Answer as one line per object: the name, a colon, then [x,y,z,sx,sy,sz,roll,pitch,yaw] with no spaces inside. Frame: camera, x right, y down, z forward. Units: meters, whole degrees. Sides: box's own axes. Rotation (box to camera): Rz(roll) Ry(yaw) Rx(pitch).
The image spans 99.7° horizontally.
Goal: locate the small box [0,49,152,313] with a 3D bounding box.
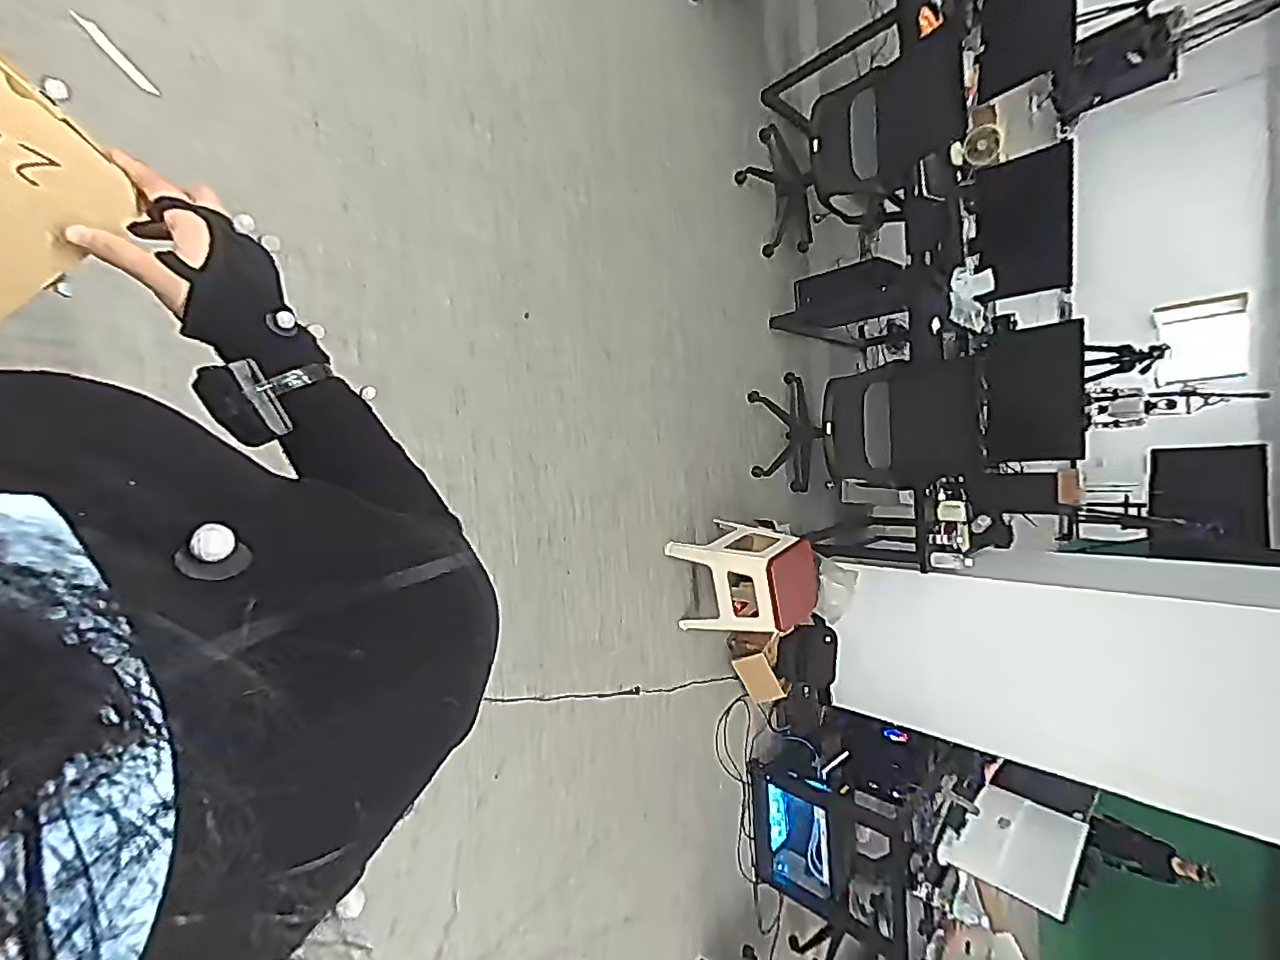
small box: [-0.498,-0.225,0.380,0.179,0.176,0.168,-48,138,-12]
